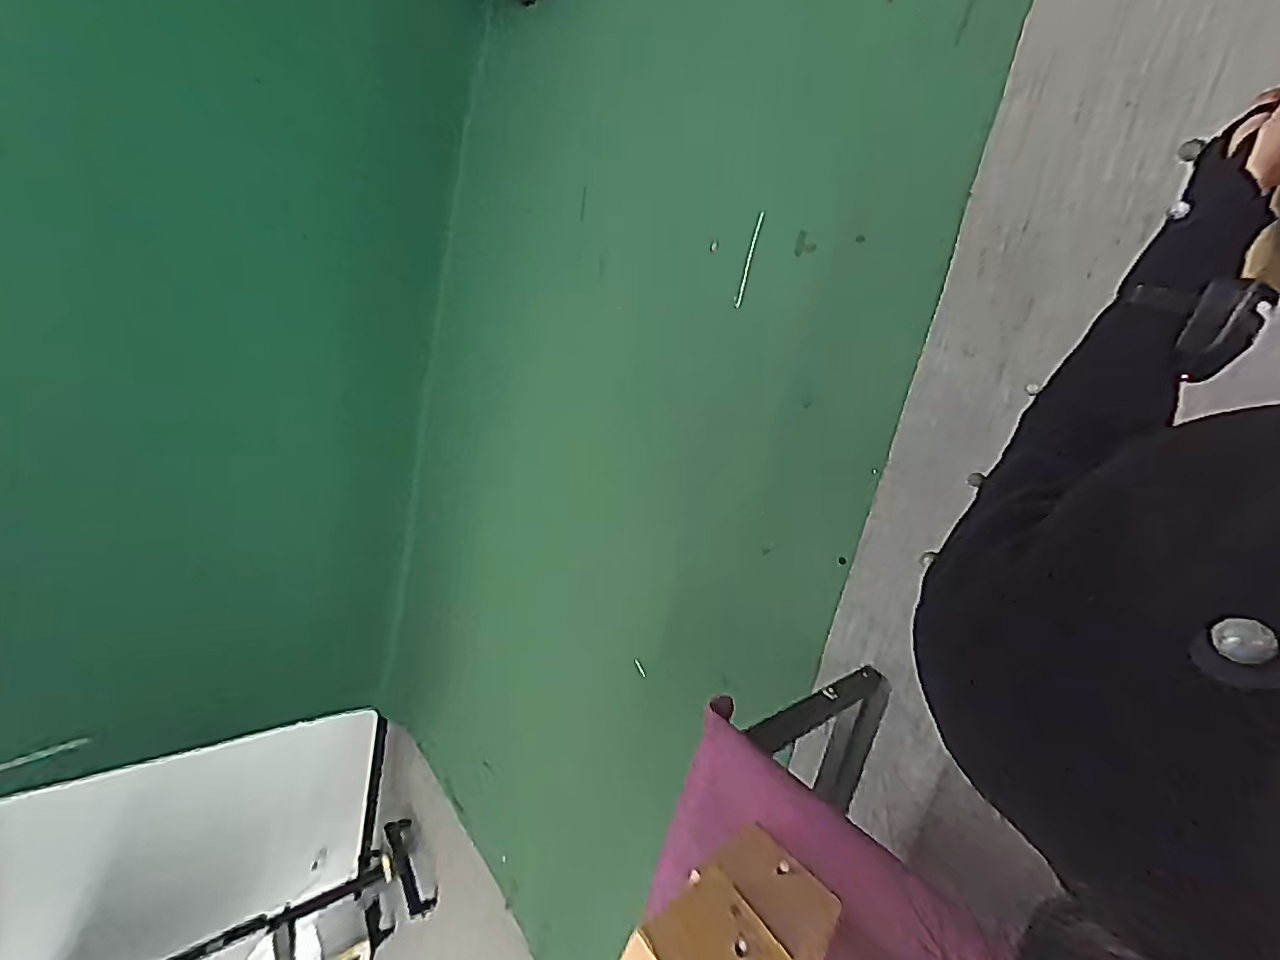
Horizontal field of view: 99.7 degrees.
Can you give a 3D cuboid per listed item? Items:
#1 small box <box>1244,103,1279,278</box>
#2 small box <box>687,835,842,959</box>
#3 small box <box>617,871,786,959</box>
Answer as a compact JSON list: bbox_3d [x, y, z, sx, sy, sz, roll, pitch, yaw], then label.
[{"bbox_3d":[0.603,-0.262,0.402,0.179,0.176,0.168,9,94,38],"label":"small box"},{"bbox_3d":[0.179,0.699,0.844,0.179,0.176,0.168,24,107,45],"label":"small box"},{"bbox_3d":[0.074,0.682,0.718,0.168,0.176,0.179,35,113,41],"label":"small box"}]
